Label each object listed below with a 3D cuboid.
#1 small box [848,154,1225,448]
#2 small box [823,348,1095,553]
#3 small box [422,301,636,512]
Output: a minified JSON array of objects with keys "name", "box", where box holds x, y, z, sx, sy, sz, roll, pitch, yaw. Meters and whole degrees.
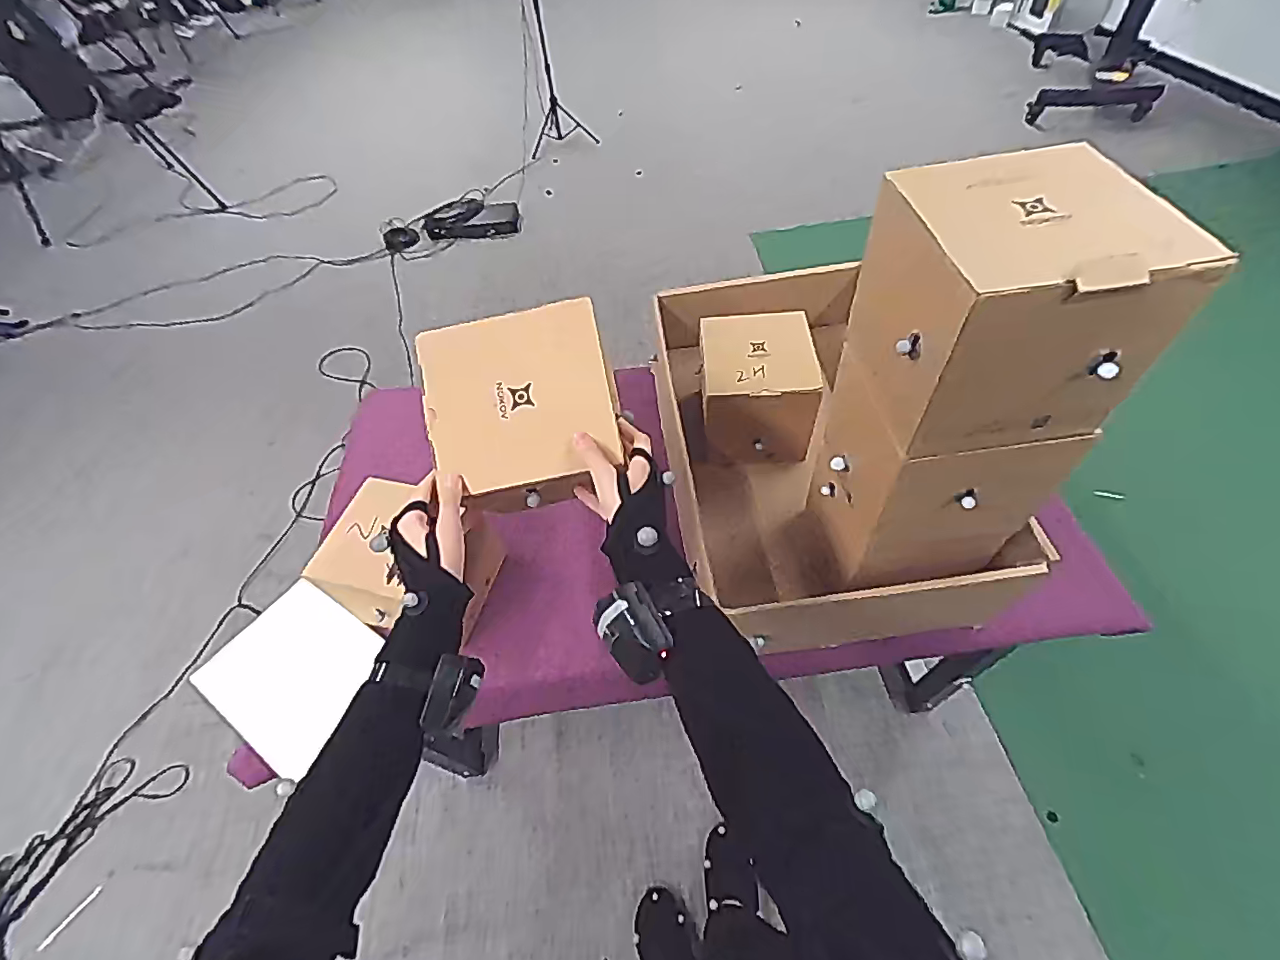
[{"name":"small box","box":[0.295,-0.141,0.459,0.168,0.176,0.179,-7,52,2]},{"name":"small box","box":[0.316,-0.038,0.584,0.179,0.176,0.168,-8,52,3]},{"name":"small box","box":[-0.104,-0.064,0.582,0.179,0.176,0.168,-12,82,4]}]
